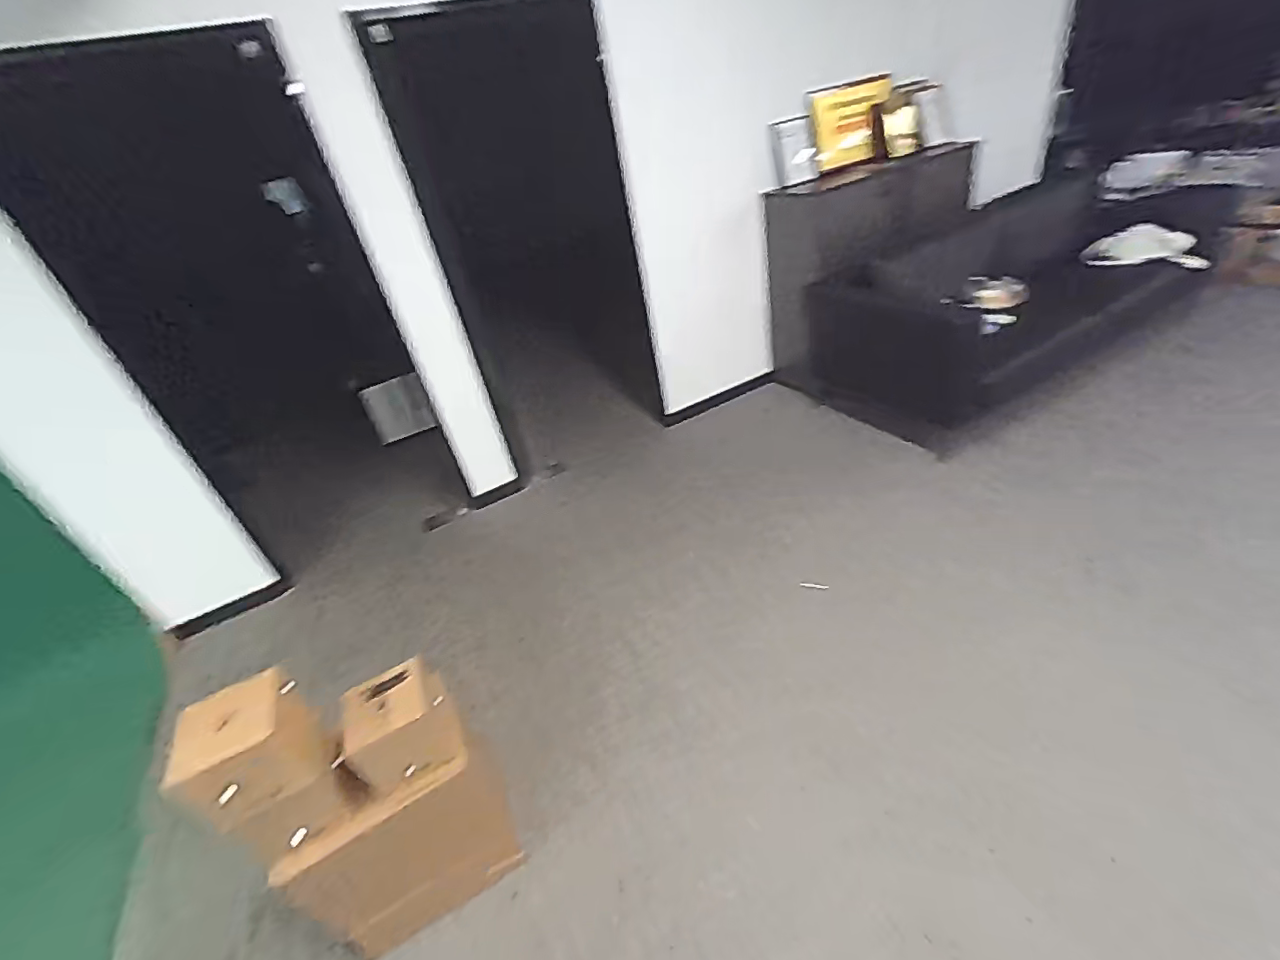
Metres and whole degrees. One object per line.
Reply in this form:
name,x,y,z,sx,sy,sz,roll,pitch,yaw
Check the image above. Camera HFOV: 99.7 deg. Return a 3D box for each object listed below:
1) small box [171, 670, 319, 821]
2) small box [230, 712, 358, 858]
small box,-0.740,0.512,1.034,0.168,0.176,0.179,-25,36,-19
small box,-0.716,0.638,1.135,0.168,0.176,0.179,-24,37,-18
